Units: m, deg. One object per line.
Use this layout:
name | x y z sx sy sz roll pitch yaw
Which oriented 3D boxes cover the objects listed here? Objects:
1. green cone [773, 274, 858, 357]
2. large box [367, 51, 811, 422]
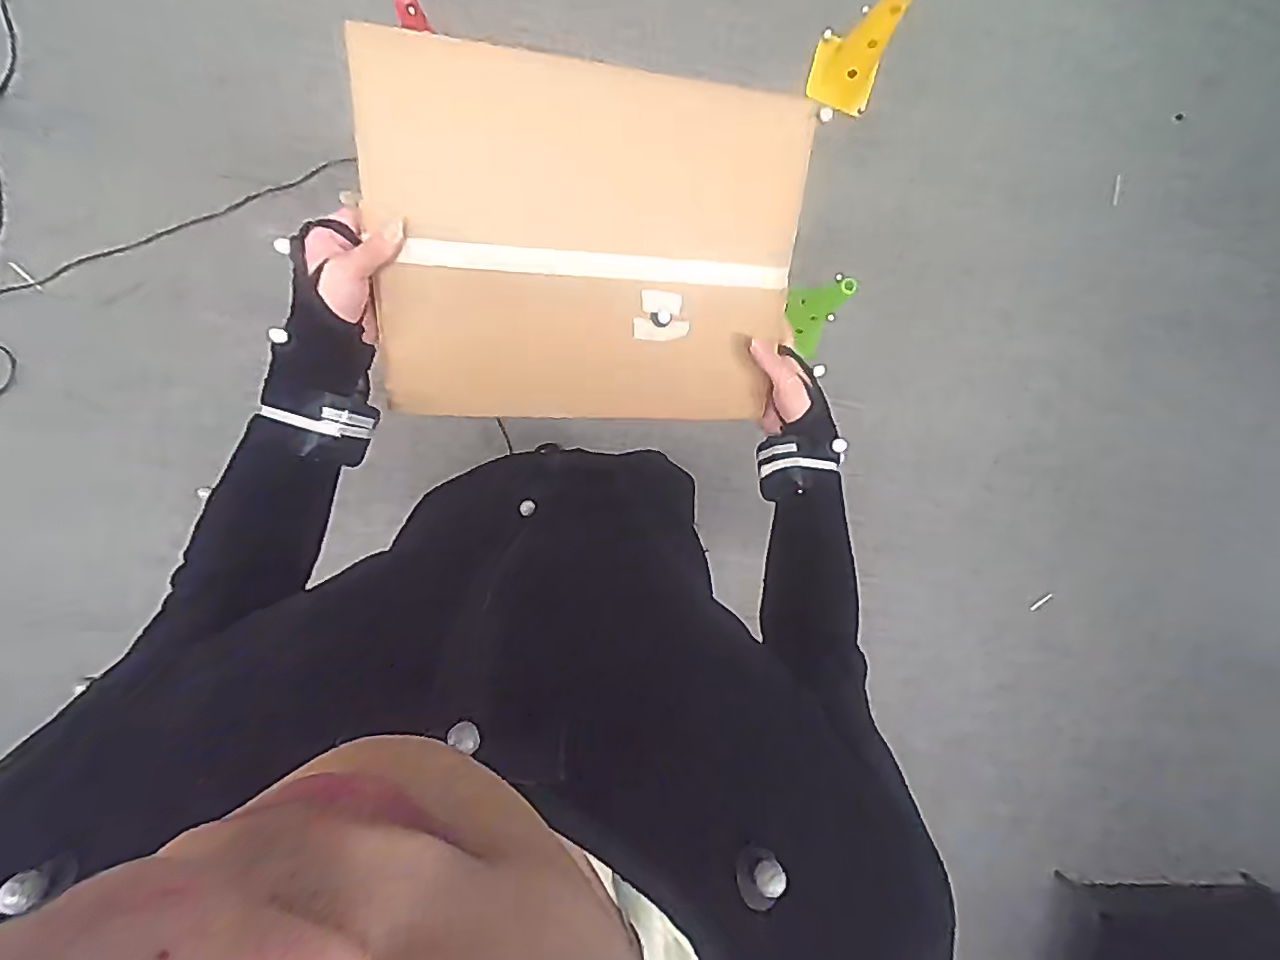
green cone | 0.500 -0.490 1.513 0.200 0.368 0.202 12 90 -9
large box | -0.073 -0.267 0.665 0.408 0.320 0.320 -1 116 -15
